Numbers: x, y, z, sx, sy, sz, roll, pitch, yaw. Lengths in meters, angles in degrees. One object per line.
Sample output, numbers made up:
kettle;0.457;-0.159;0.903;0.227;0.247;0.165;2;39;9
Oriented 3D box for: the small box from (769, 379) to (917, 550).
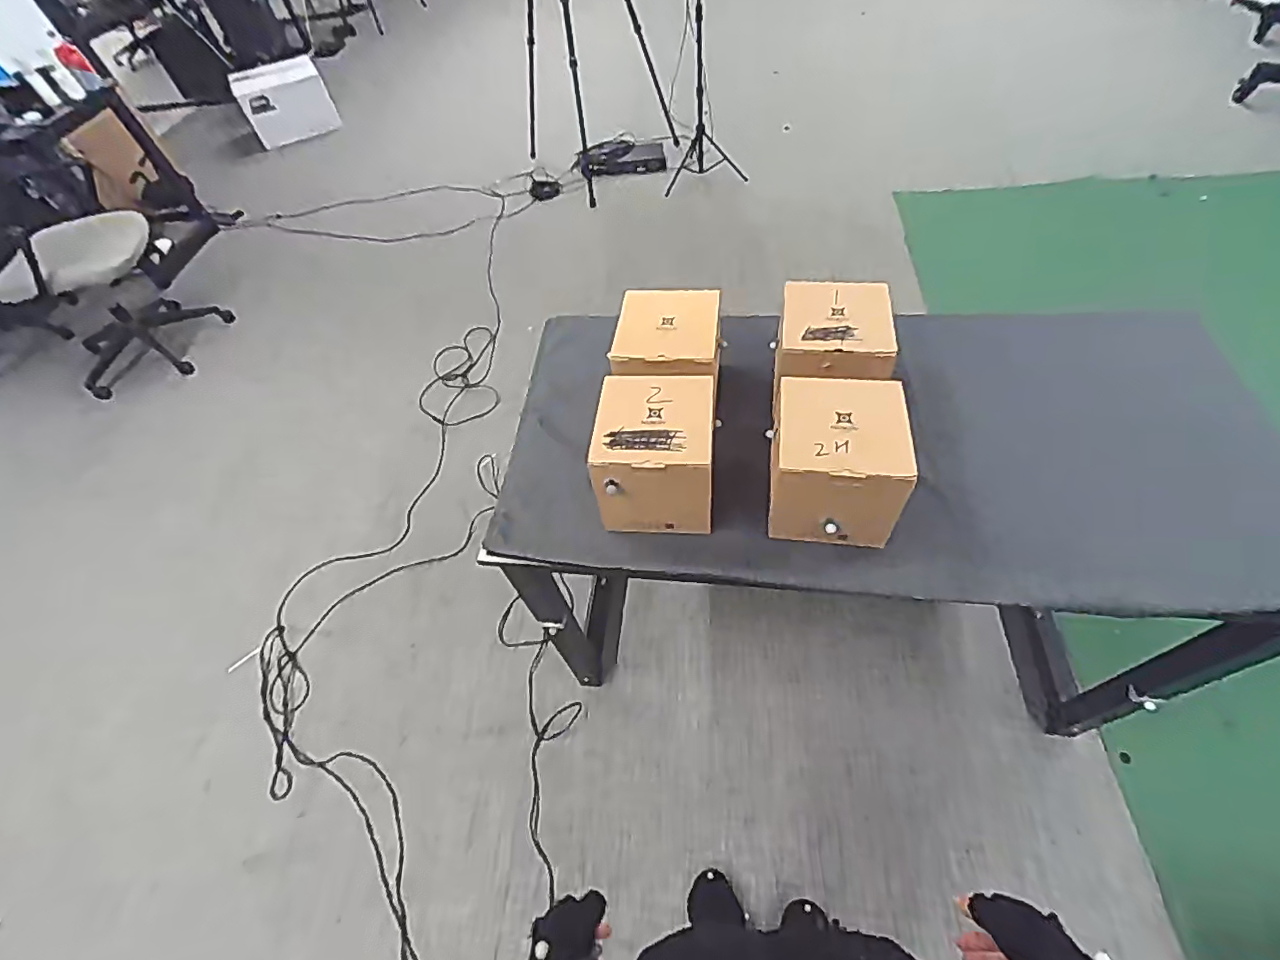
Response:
small box;0.279;-0.022;0.783;0.168;0.176;0.179;4;54;10
